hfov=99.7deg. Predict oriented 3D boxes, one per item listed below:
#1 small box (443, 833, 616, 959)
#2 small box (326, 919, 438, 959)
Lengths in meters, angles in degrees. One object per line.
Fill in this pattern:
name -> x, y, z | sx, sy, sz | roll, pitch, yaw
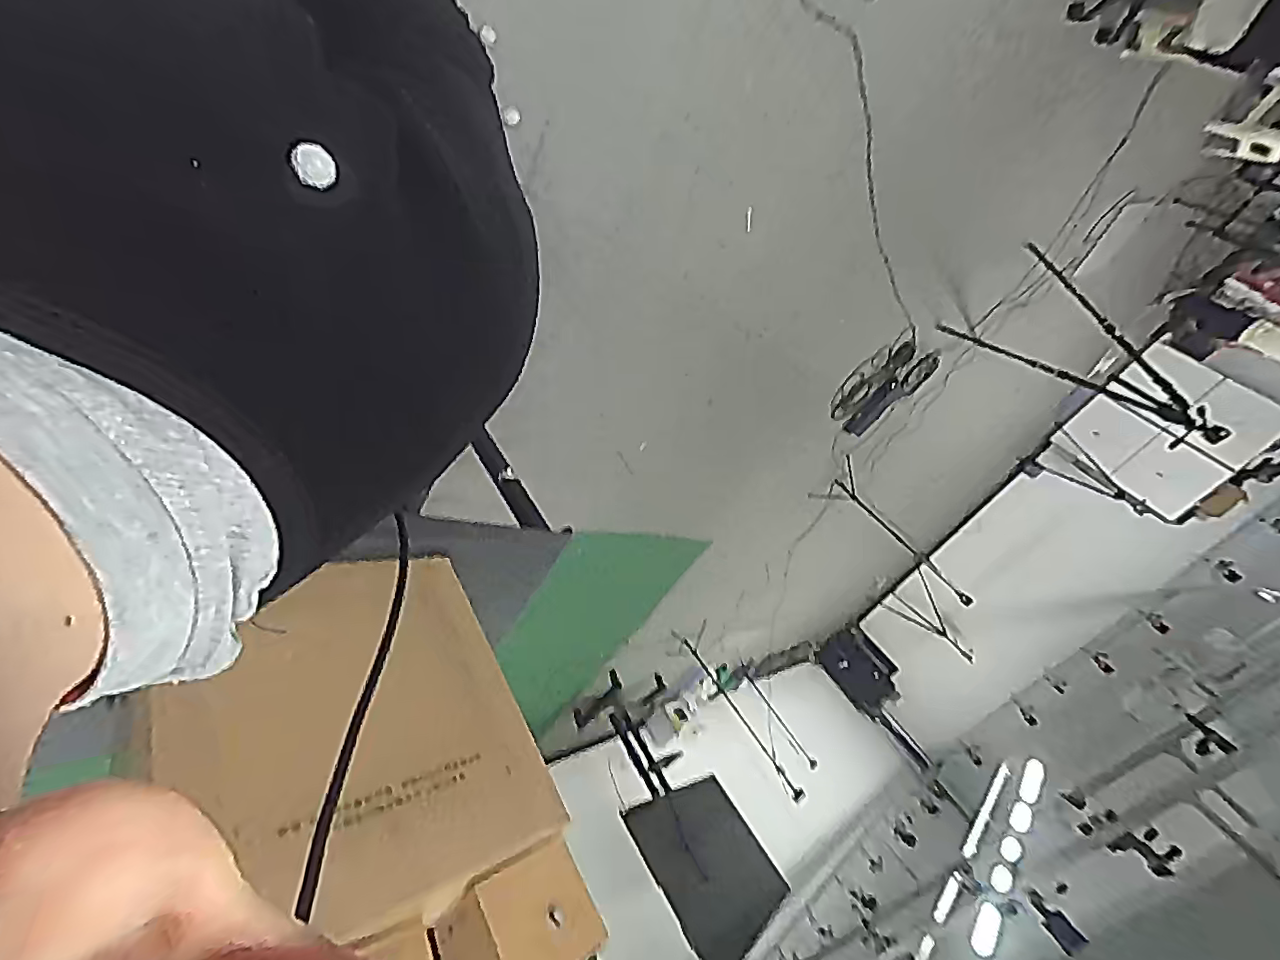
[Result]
small box -> -0.178, 0.708, 0.856 | 0.179, 0.176, 0.168 | 2, 128, -50
small box -> -0.350, 0.696, 0.662 | 0.179, 0.176, 0.168 | -43, 147, 4
